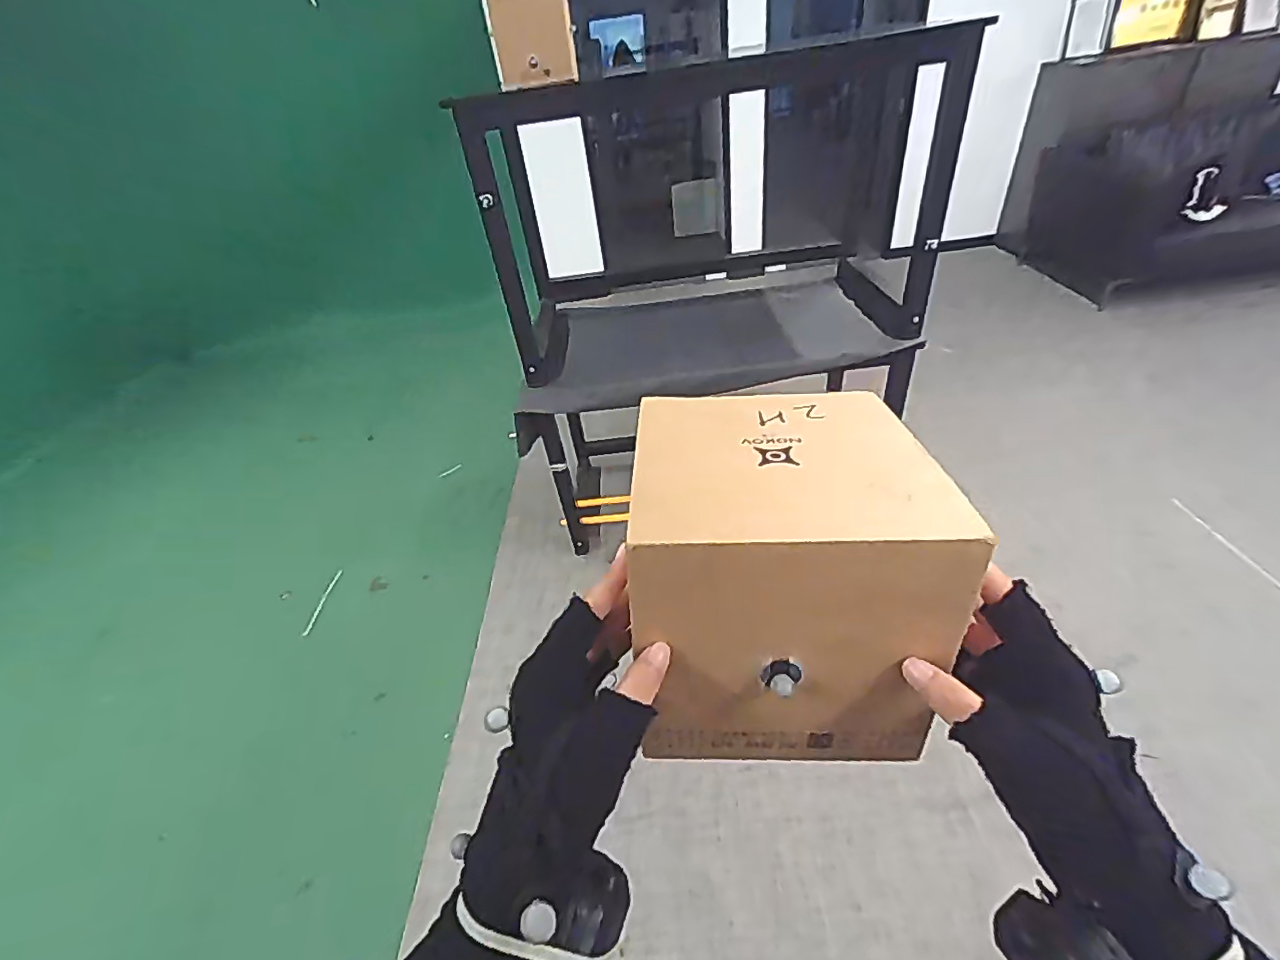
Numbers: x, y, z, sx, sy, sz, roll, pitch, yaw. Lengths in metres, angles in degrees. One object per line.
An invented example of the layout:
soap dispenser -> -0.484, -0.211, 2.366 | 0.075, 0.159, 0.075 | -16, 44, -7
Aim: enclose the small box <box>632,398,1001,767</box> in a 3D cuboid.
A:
small box -> 0.086, 0.058, 0.351 | 0.168, 0.176, 0.179 | 0, 30, 3
